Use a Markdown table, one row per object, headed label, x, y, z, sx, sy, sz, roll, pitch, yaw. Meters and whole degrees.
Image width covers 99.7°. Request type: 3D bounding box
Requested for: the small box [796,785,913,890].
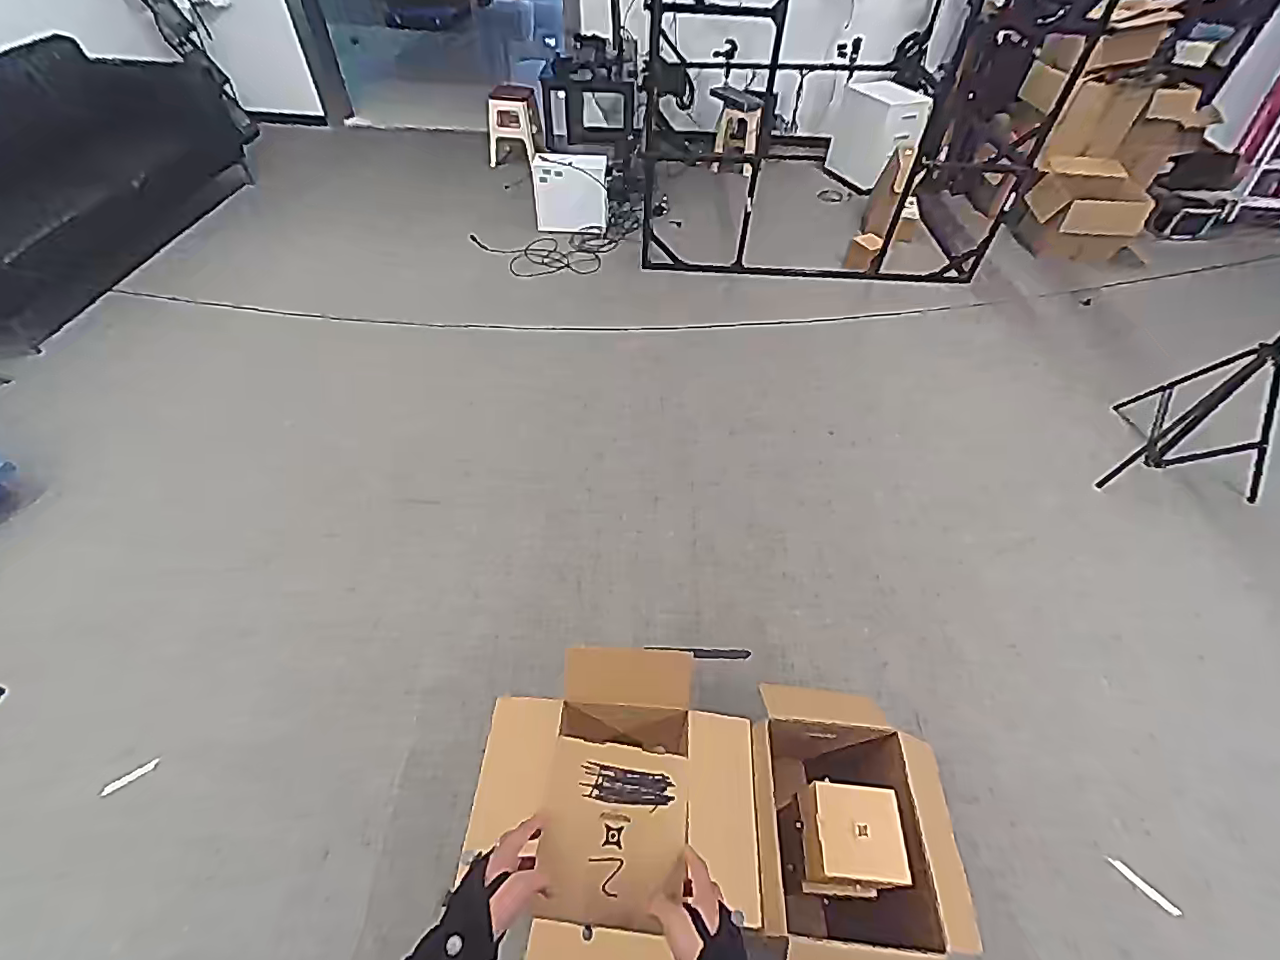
| label | x | y | z | sx | sy | sz | roll | pitch | yaw |
| --- | --- | --- | --- | --- | --- | --- | --- | --- | --- |
| small box | 0.448 | 0.770 | 1.160 | 0.179 | 0.176 | 0.168 | 5 | 51 | 2 |
